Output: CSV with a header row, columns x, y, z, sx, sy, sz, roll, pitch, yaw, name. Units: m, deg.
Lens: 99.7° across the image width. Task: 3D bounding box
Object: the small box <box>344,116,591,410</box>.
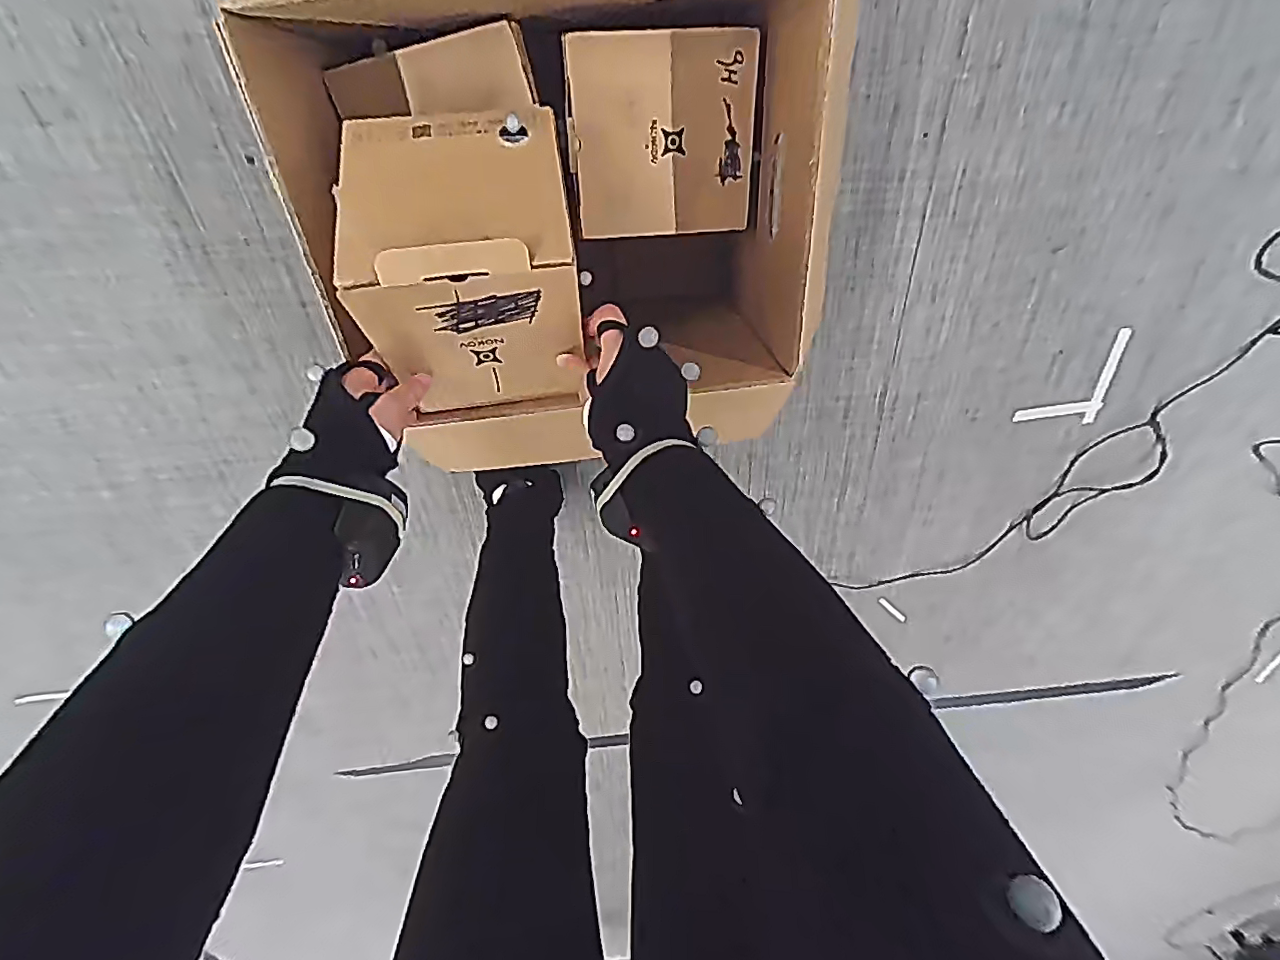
x,y,z,sx,sy,sz,roll,pitch,yaw,name
-0.136,-0.184,0.471,0.168,0.176,0.179,-8,158,-6,small box
